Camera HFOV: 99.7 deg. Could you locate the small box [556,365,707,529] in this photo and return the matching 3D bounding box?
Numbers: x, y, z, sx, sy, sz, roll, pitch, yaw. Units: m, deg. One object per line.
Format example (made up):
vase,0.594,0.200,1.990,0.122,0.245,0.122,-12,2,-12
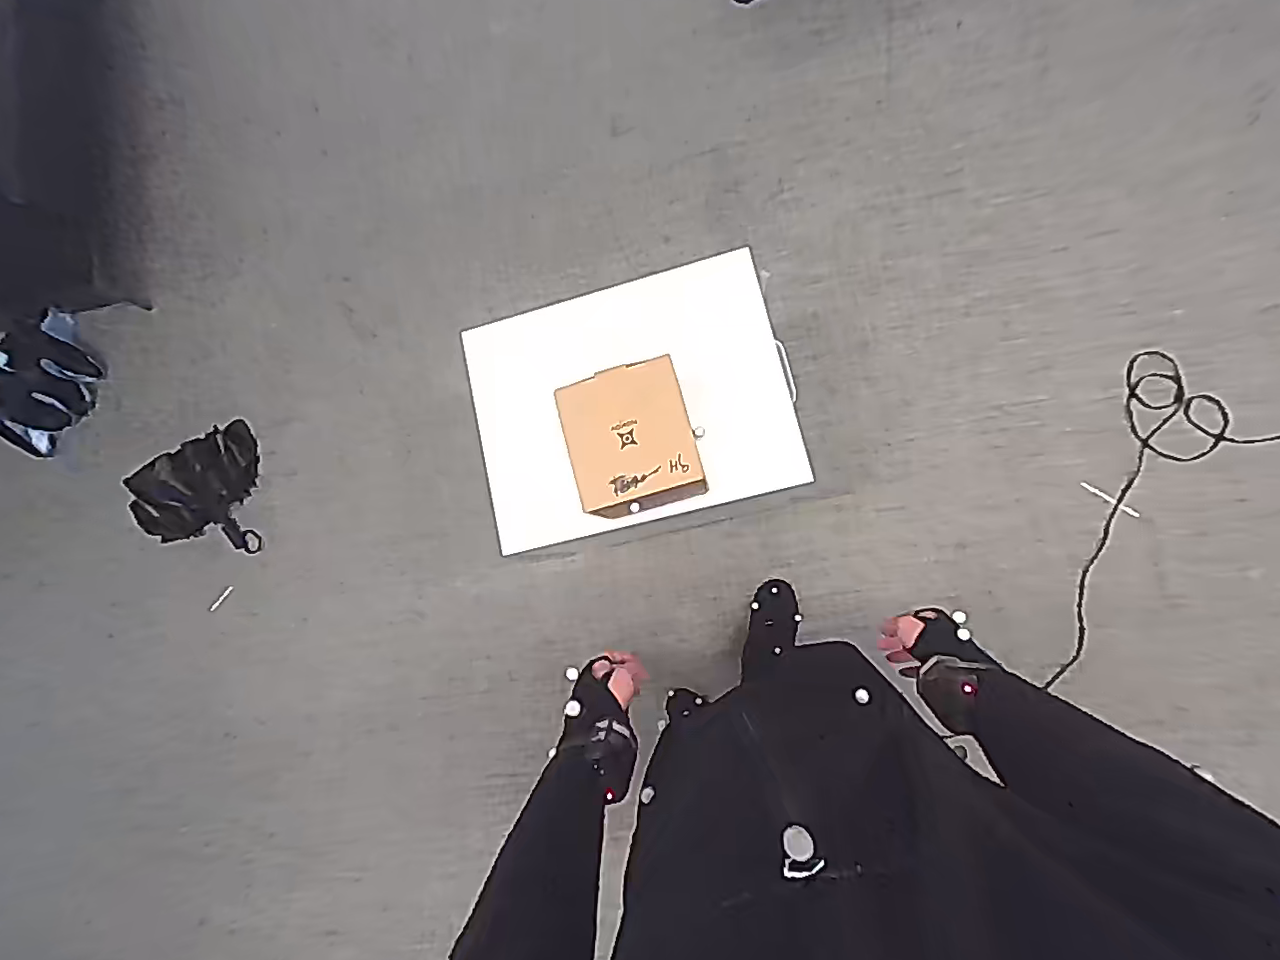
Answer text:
small box,-0.005,-0.037,0.785,0.168,0.176,0.179,-17,79,7
